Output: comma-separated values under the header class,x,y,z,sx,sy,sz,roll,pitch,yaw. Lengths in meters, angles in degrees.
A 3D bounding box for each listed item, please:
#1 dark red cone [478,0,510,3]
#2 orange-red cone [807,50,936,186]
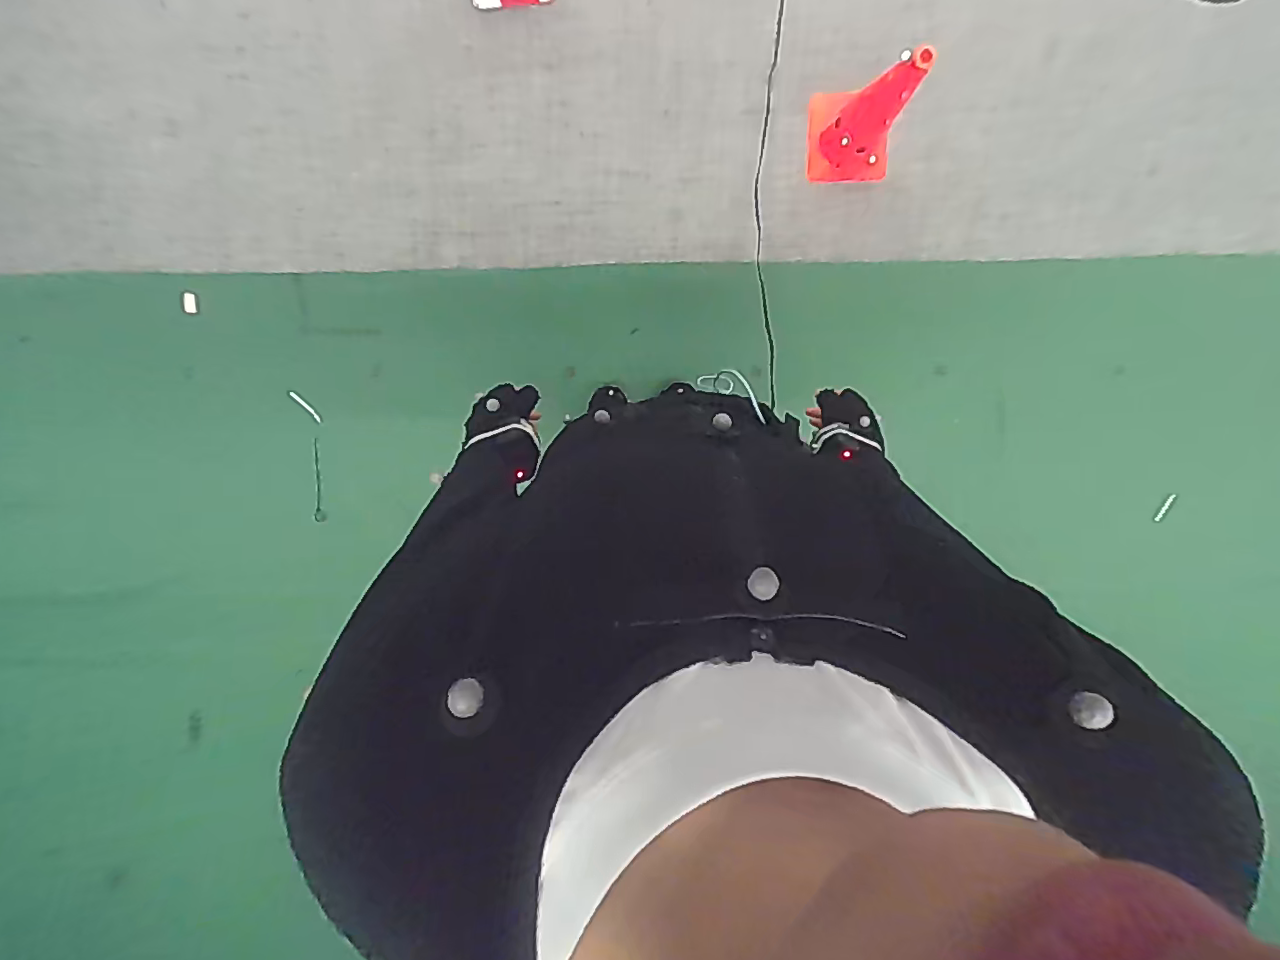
class,x,y,z,sx,sy,sz,roll,pitch,yaw
dark red cone,-0.293,-1.162,1.057,0.202,0.394,0.201,-7,102,0
orange-red cone,0.519,-0.807,1.168,0.198,0.360,0.199,-1,100,-2
